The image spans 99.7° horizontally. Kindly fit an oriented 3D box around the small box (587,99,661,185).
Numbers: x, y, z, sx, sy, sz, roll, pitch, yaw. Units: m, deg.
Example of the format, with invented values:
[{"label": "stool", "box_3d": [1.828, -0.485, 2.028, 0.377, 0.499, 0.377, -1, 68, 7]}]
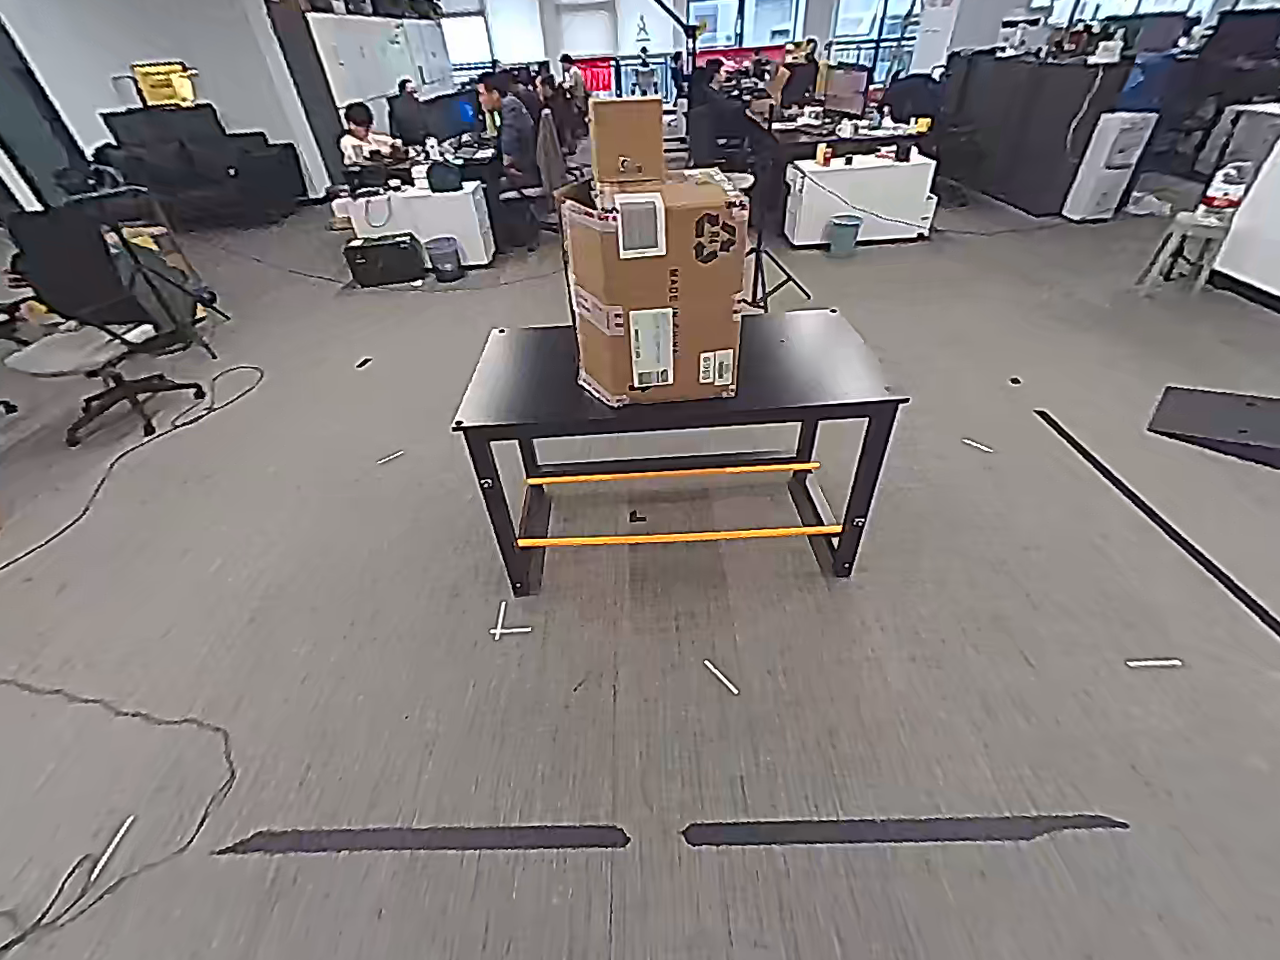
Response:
[{"label": "small box", "box_3d": [-0.041, -0.842, 1.346, 0.168, 0.176, 0.179, -7, 38, -5]}]
